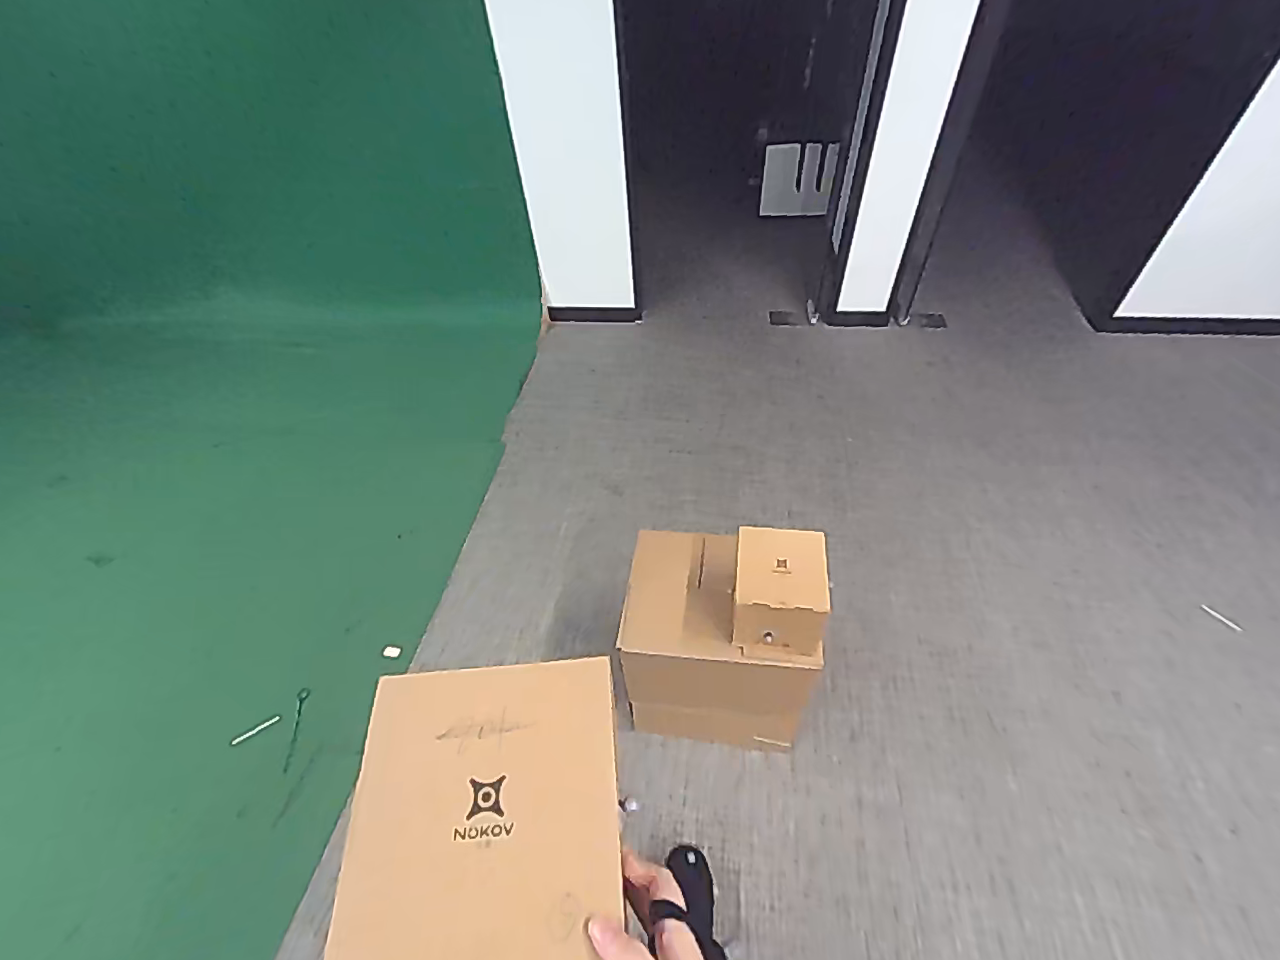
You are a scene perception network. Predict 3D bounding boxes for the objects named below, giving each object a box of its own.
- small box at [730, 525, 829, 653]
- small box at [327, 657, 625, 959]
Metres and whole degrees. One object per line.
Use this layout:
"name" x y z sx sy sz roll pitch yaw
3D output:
"small box" 0.267 0.214 1.064 0.168 0.176 0.179 5 49 9
"small box" -0.097 0.250 0.409 0.168 0.176 0.179 -2 53 -3
